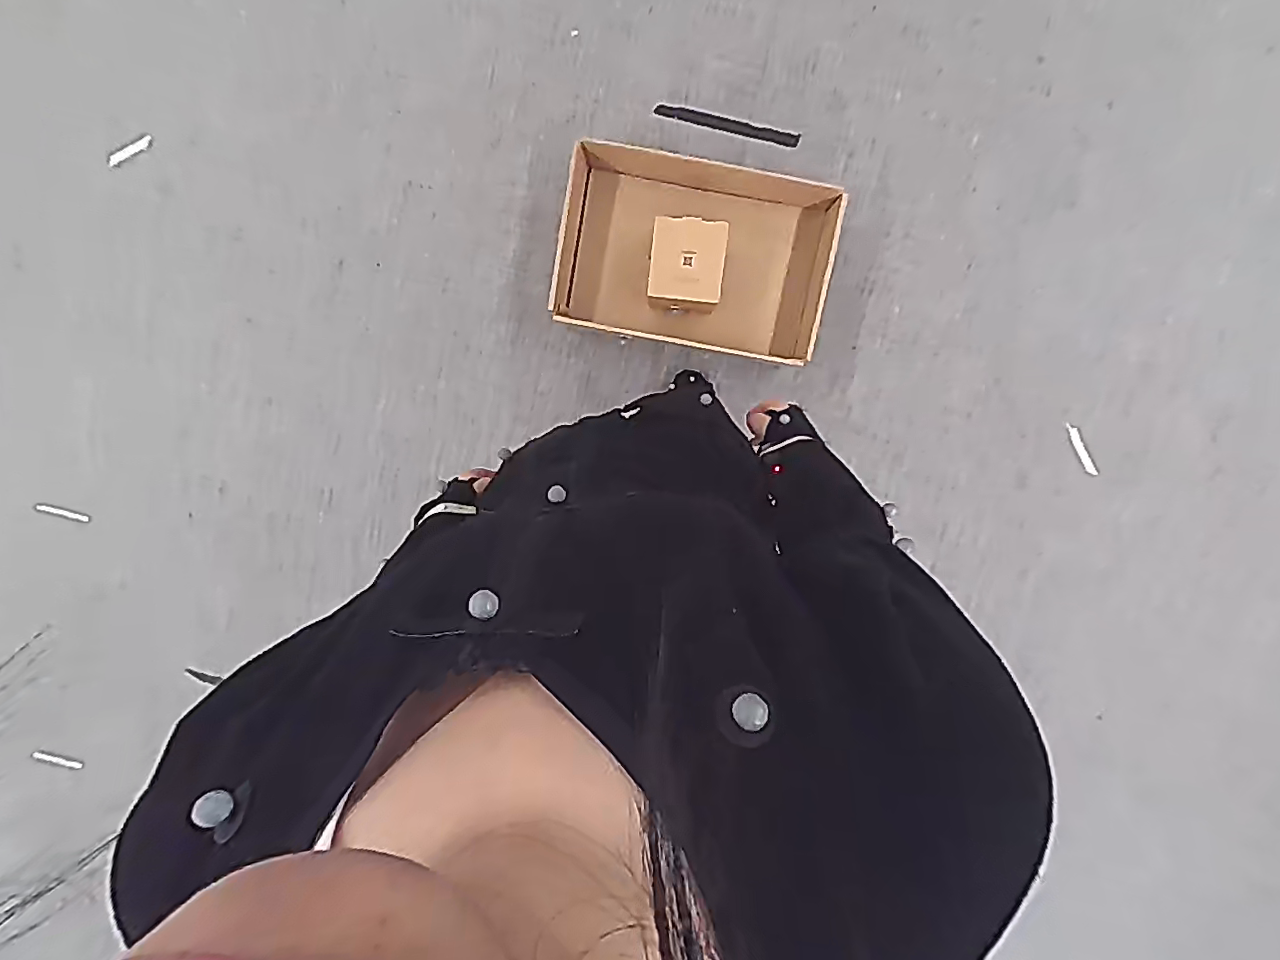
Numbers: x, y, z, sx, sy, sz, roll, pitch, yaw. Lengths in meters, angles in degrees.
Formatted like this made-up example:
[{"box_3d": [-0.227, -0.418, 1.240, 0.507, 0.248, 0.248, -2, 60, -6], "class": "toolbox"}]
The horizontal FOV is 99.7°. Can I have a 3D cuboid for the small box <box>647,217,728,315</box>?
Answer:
[{"box_3d": [0.107, -0.501, 1.284, 0.168, 0.176, 0.179, 6, 100, 1], "class": "small box"}]
